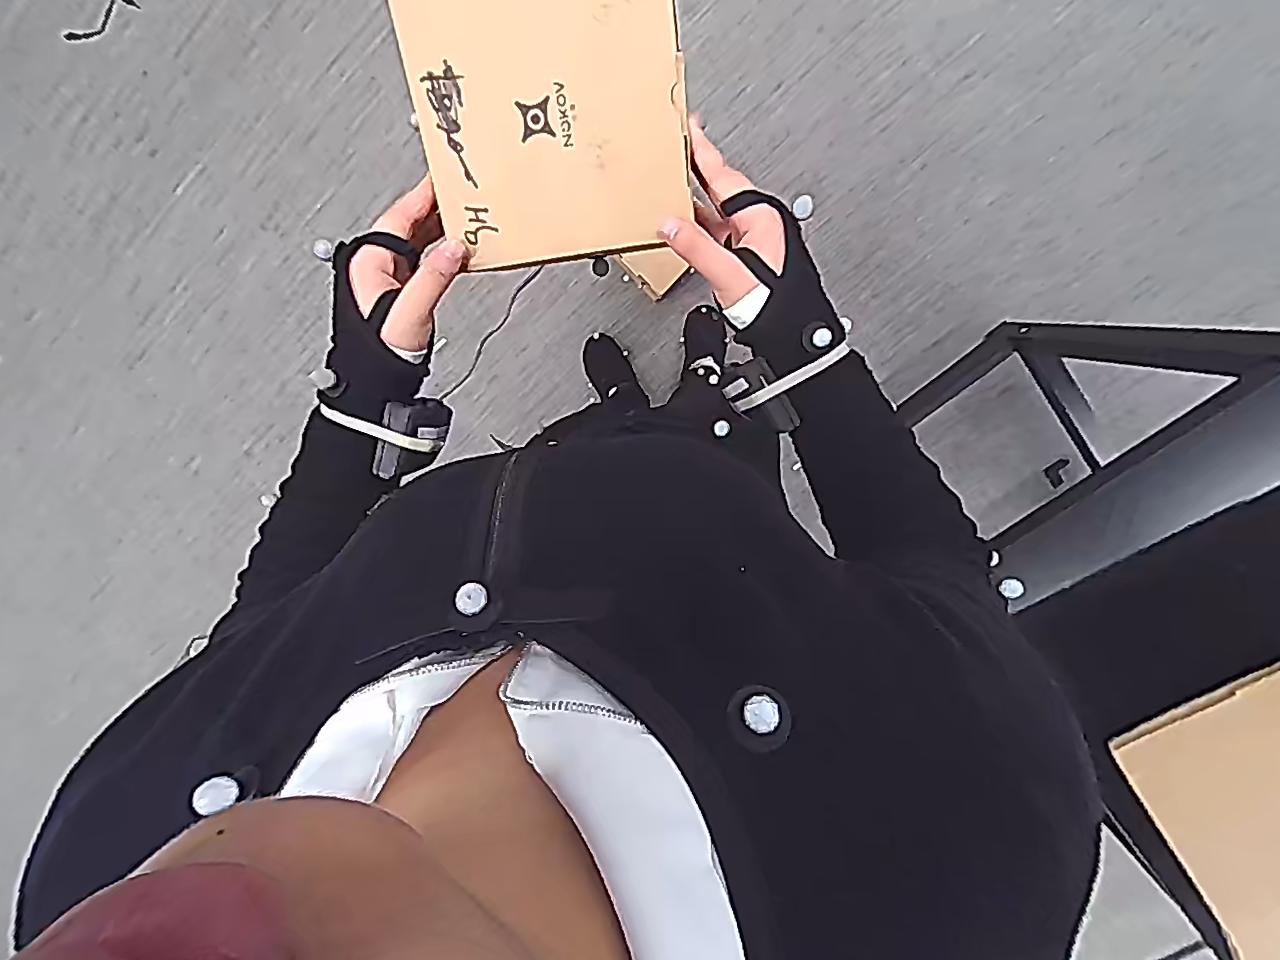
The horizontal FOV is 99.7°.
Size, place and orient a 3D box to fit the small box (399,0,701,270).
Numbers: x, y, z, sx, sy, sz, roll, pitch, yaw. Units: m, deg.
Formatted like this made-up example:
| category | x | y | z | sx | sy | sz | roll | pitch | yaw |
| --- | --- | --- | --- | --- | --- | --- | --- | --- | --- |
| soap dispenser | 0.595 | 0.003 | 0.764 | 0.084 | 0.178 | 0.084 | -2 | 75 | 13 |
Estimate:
| category | x | y | z | sx | sy | sz | roll | pitch | yaw |
| --- | --- | --- | --- | --- | --- | --- | --- | --- | --- |
| small box | -0.051 | -0.266 | 0.427 | 0.179 | 0.176 | 0.168 | -6 | 111 | 5 |

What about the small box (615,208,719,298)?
| category | x | y | z | sx | sy | sz | roll | pitch | yaw |
| --- | --- | --- | --- | --- | --- | --- | --- | --- | --- |
| small box | 0.039 | -0.496 | 1.117 | 0.168 | 0.176 | 0.179 | 43 | 102 | -11 |

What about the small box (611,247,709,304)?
| category | x | y | z | sx | sy | sz | roll | pitch | yaw |
| --- | --- | --- | --- | --- | --- | --- | --- | --- | --- |
| small box | 0.038 | -0.539 | 1.274 | 0.179 | 0.176 | 0.168 | -42 | 101 | 13 |
